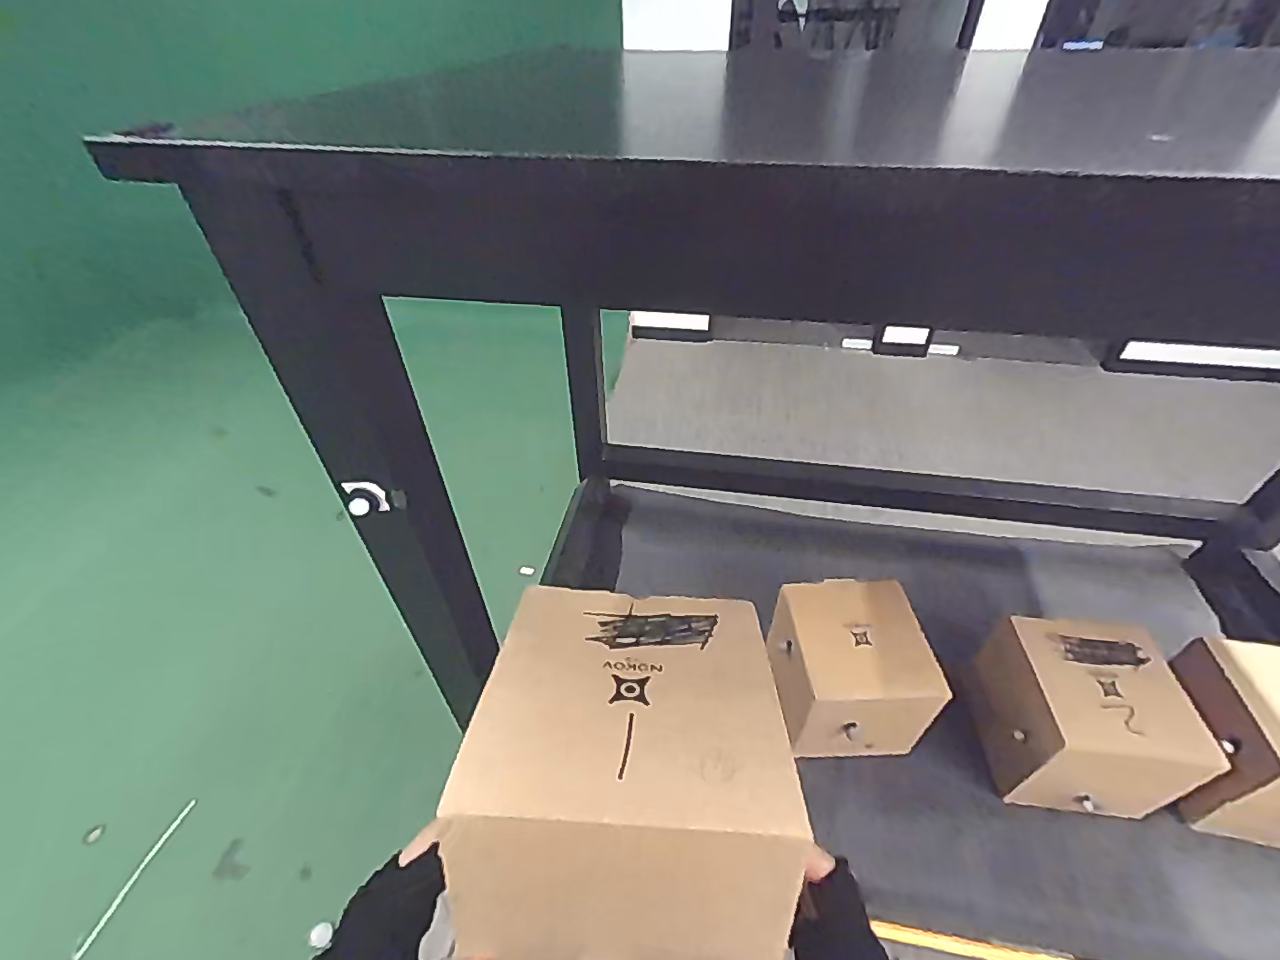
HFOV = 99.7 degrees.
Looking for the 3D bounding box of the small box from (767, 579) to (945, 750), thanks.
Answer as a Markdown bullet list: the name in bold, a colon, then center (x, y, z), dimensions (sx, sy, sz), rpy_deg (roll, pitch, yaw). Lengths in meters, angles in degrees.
- **small box**: center (0.283, 0.259, 0.753), dimensions (0.168, 0.176, 0.179), rpy_deg (-1, 41, -1)
